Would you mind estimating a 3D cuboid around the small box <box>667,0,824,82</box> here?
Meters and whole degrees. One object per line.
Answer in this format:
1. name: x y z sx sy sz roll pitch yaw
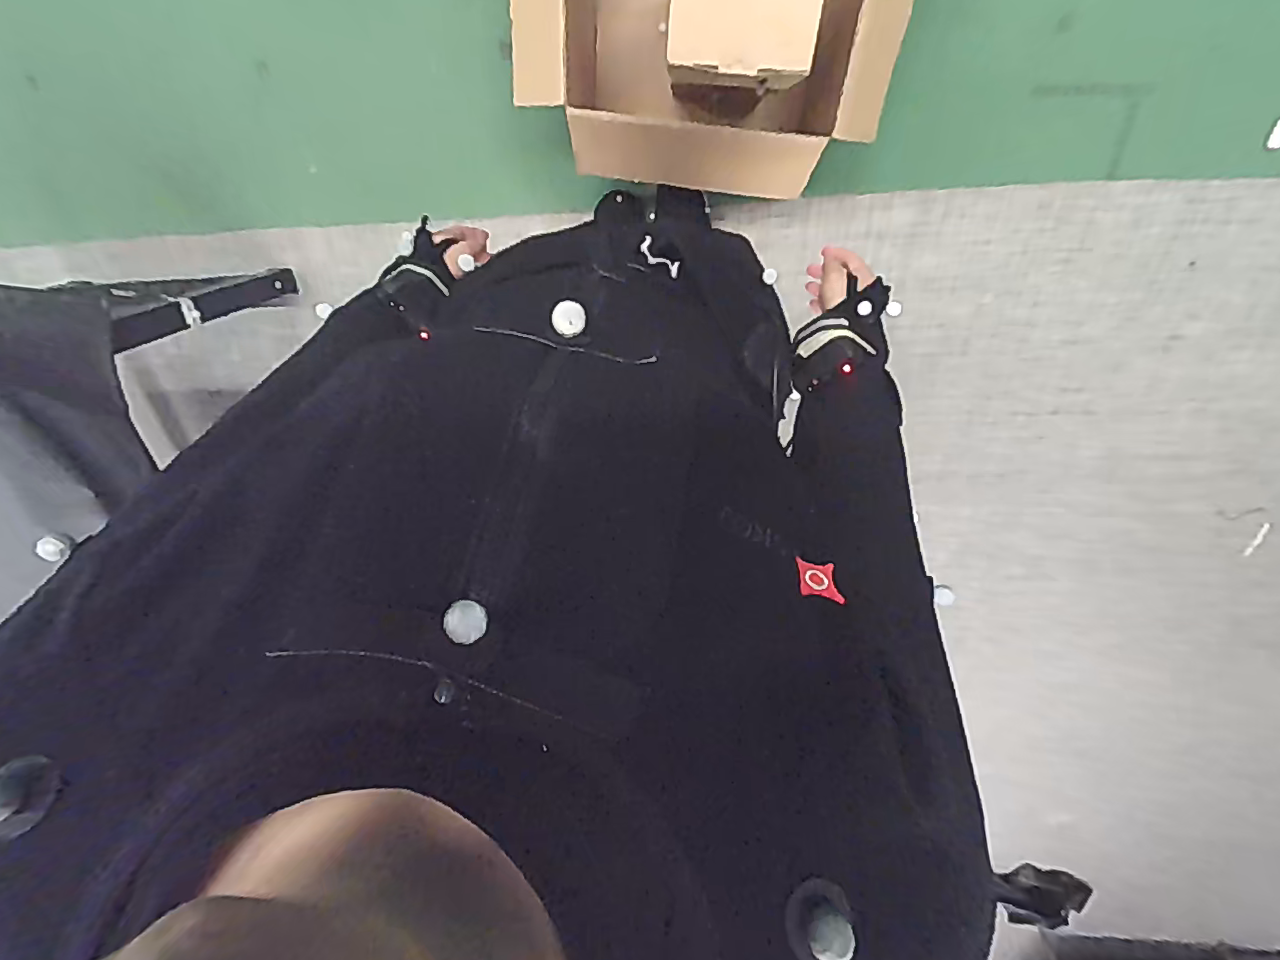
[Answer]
1. small box: 0.123 -0.580 0.628 0.168 0.176 0.179 4 121 2
